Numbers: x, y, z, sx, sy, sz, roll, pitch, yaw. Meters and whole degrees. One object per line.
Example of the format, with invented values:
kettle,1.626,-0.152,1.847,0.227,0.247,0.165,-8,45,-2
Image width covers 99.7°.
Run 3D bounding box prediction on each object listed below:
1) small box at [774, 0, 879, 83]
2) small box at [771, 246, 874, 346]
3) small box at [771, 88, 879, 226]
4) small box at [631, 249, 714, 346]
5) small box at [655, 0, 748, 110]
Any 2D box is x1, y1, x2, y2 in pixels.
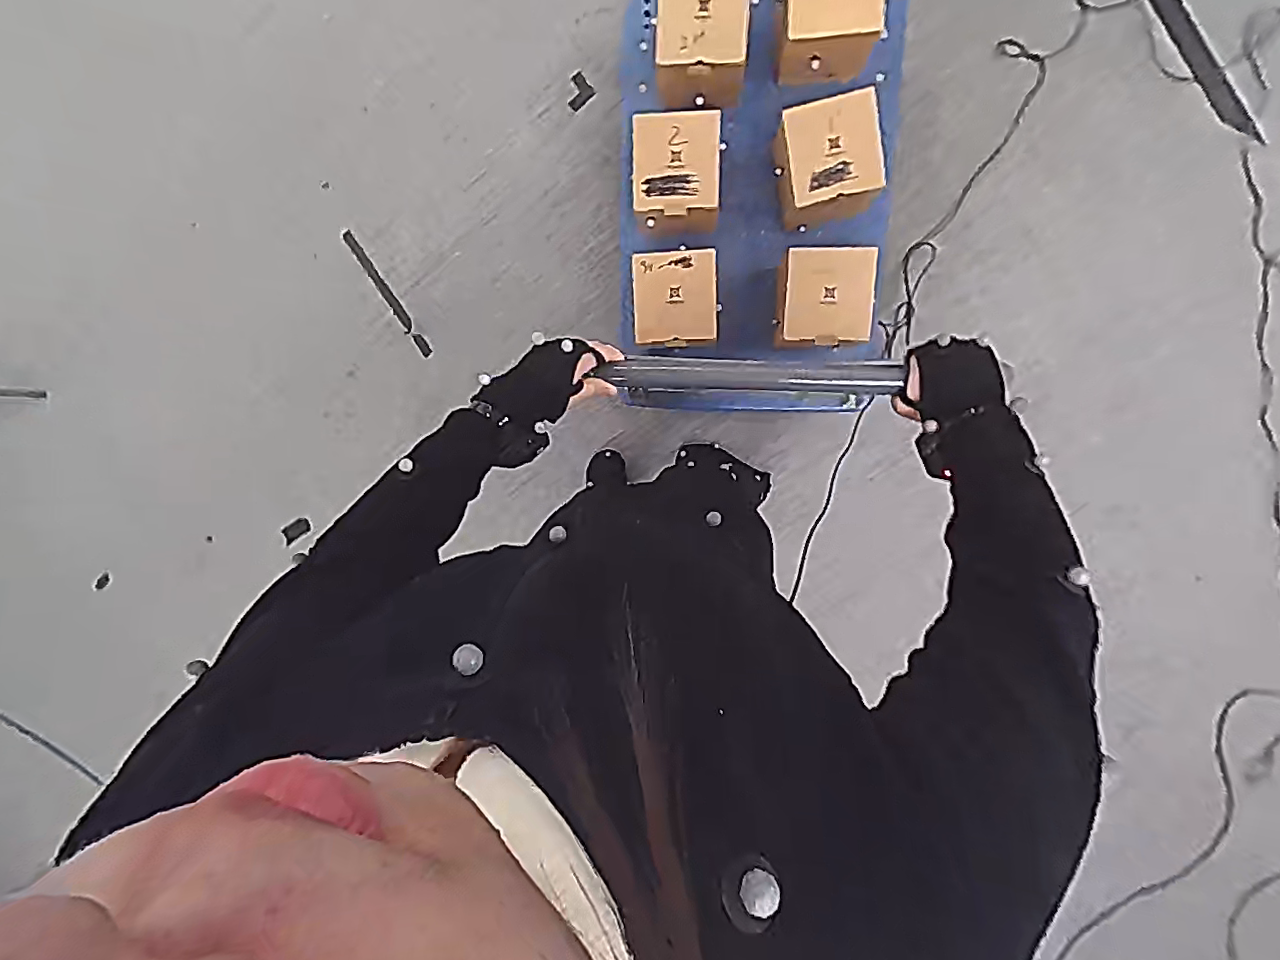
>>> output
small box,0.352,-0.897,1.036,0.168,0.176,0.179,0,100,7
small box,0.370,-0.374,1.124,0.168,0.176,0.179,3,99,6
small box,0.362,-0.628,1.081,0.168,0.176,0.179,-9,98,8
small box,0.074,-0.381,1.157,0.168,0.176,0.179,-1,100,6
small box,0.122,-0.869,1.065,0.168,0.176,0.179,4,100,7
